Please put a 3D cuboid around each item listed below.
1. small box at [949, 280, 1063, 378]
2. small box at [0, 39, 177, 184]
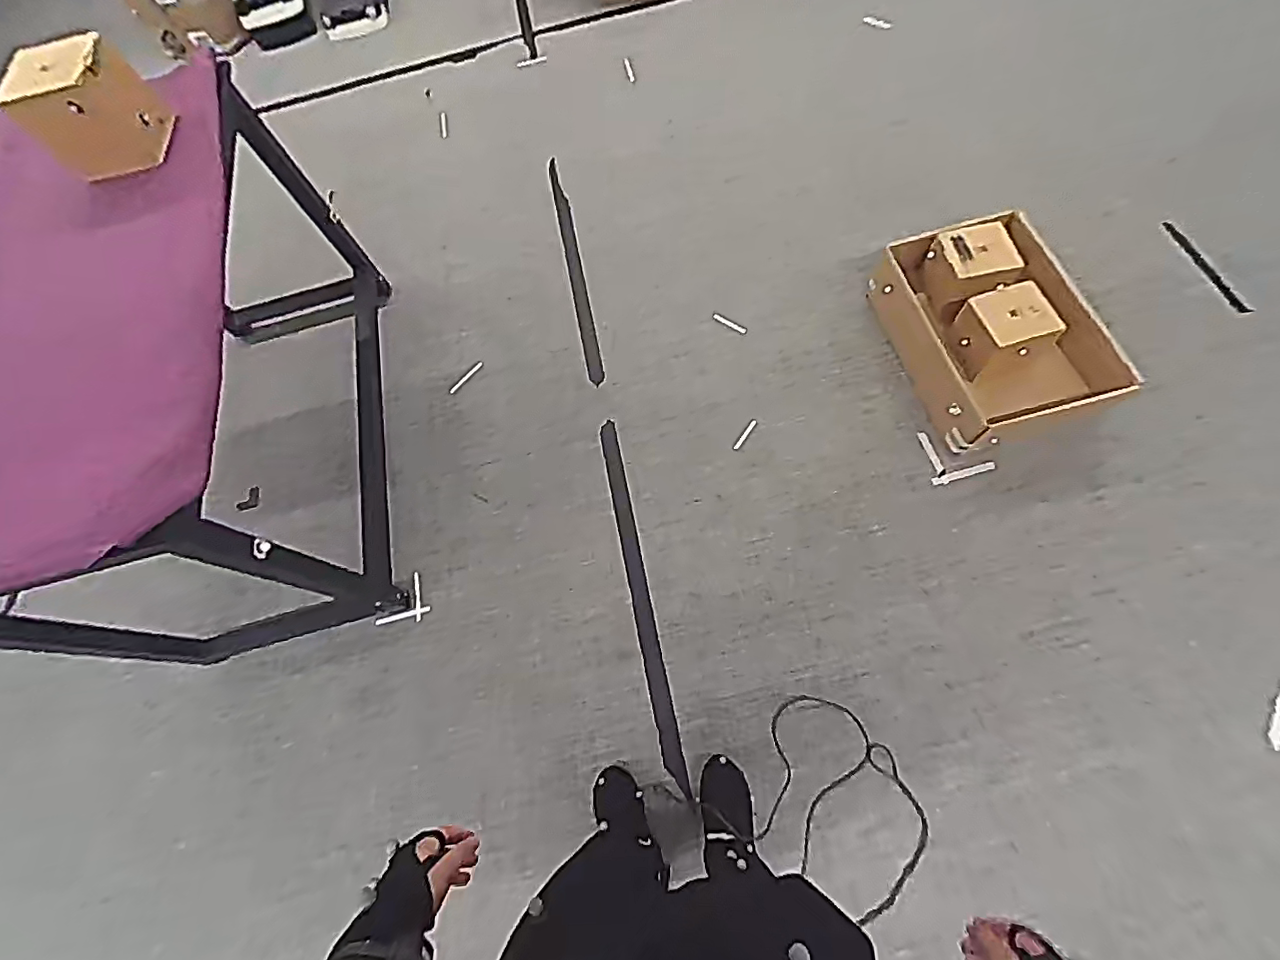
[{"bbox_3d":[0.963,-0.398,1.451,0.179,0.176,0.168,-16,67,1],"label":"small box"},{"bbox_3d":[-1.108,-0.738,1.098,0.179,0.176,0.168,-11,67,4],"label":"small box"}]
